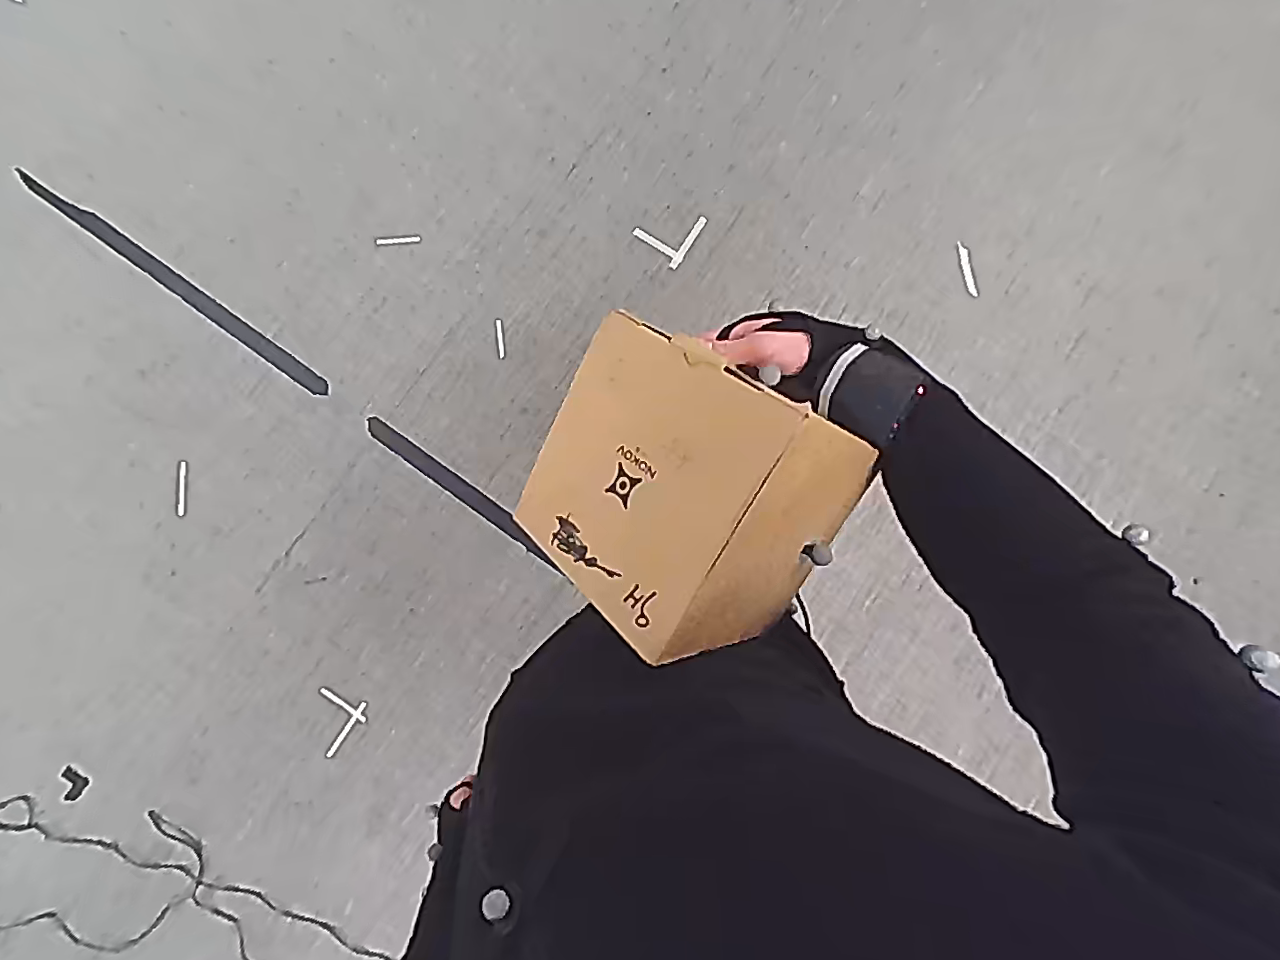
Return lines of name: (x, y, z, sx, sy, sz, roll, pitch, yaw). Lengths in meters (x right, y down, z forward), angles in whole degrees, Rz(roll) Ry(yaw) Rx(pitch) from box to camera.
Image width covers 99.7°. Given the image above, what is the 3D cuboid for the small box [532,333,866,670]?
small box: (0.053, 0.015, 0.427, 0.168, 0.176, 0.179, 38, 107, 35)
